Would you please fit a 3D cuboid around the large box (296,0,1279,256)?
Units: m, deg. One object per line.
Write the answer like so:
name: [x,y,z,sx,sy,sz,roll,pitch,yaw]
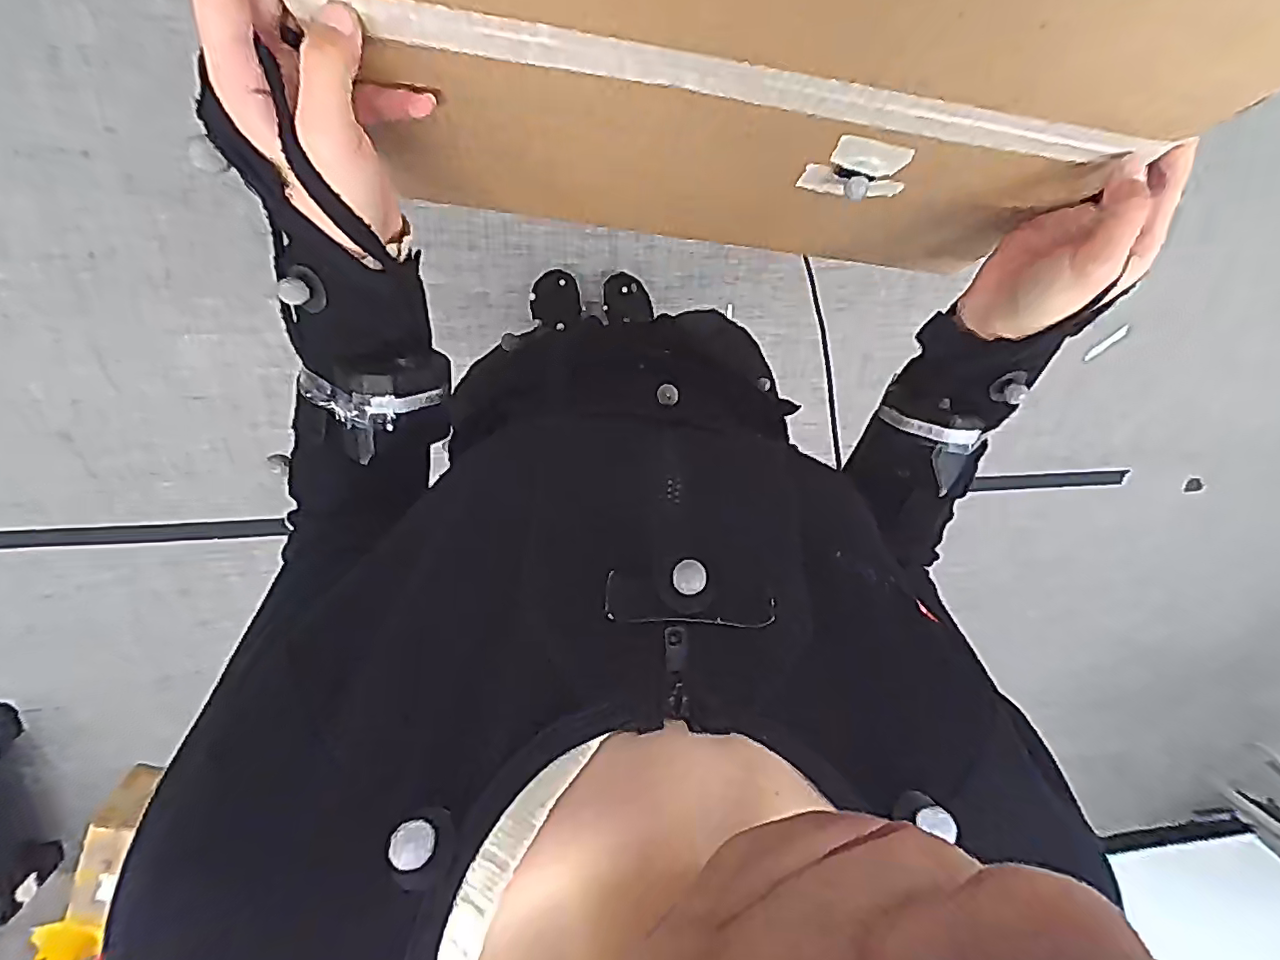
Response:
large box: [0.061,-0.335,0.246,0.408,0.320,0.320,3,90,-8]
